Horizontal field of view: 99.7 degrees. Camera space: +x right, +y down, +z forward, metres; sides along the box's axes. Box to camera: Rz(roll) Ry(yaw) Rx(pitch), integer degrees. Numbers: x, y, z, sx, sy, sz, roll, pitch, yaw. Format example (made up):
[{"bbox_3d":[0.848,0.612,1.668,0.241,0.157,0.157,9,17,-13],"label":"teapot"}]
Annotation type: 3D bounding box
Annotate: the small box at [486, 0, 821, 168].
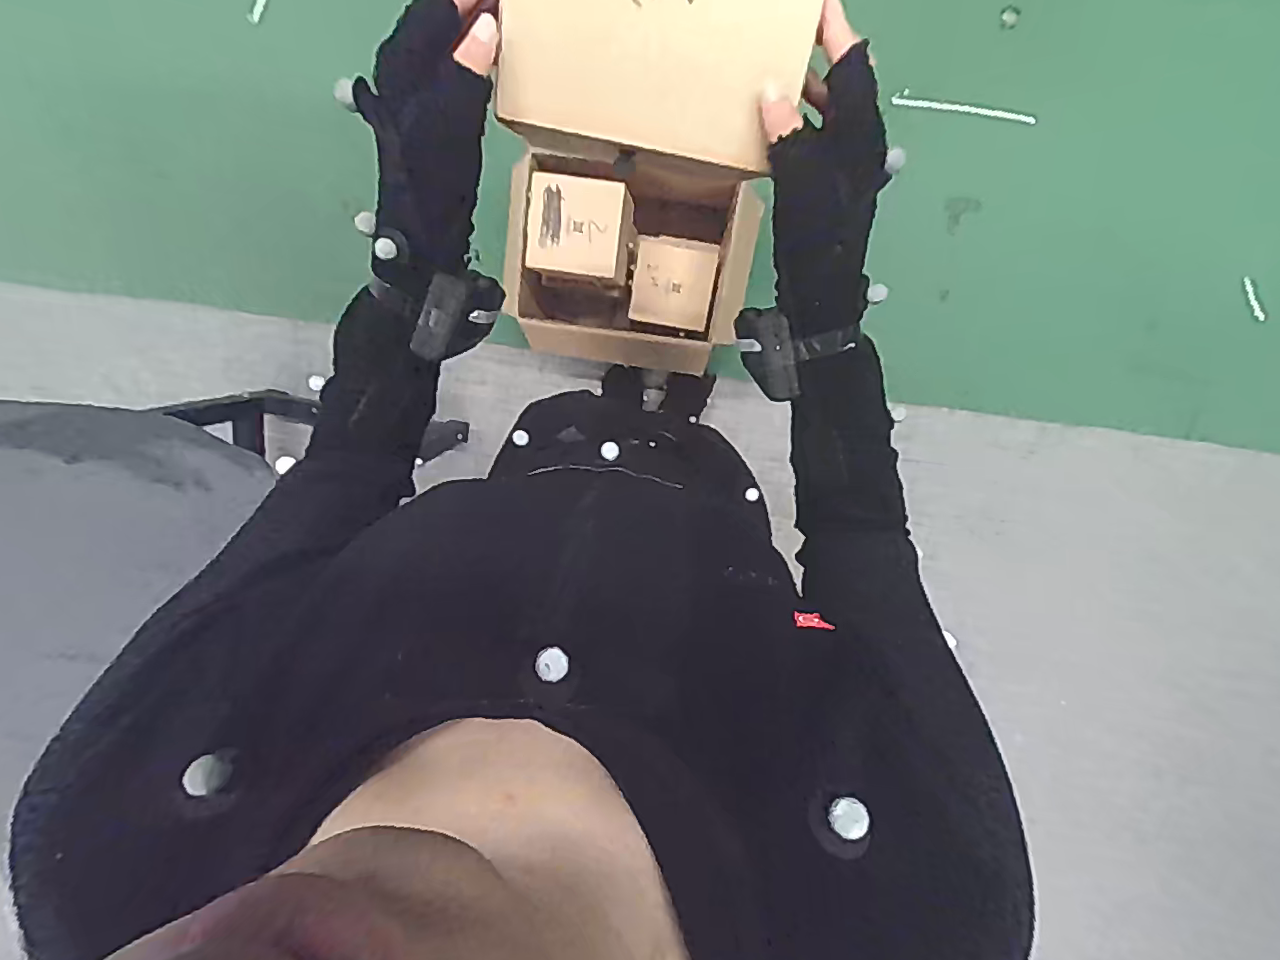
[{"bbox_3d":[0.009,-0.306,0.345,0.179,0.176,0.168,7,117,-5],"label":"small box"}]
